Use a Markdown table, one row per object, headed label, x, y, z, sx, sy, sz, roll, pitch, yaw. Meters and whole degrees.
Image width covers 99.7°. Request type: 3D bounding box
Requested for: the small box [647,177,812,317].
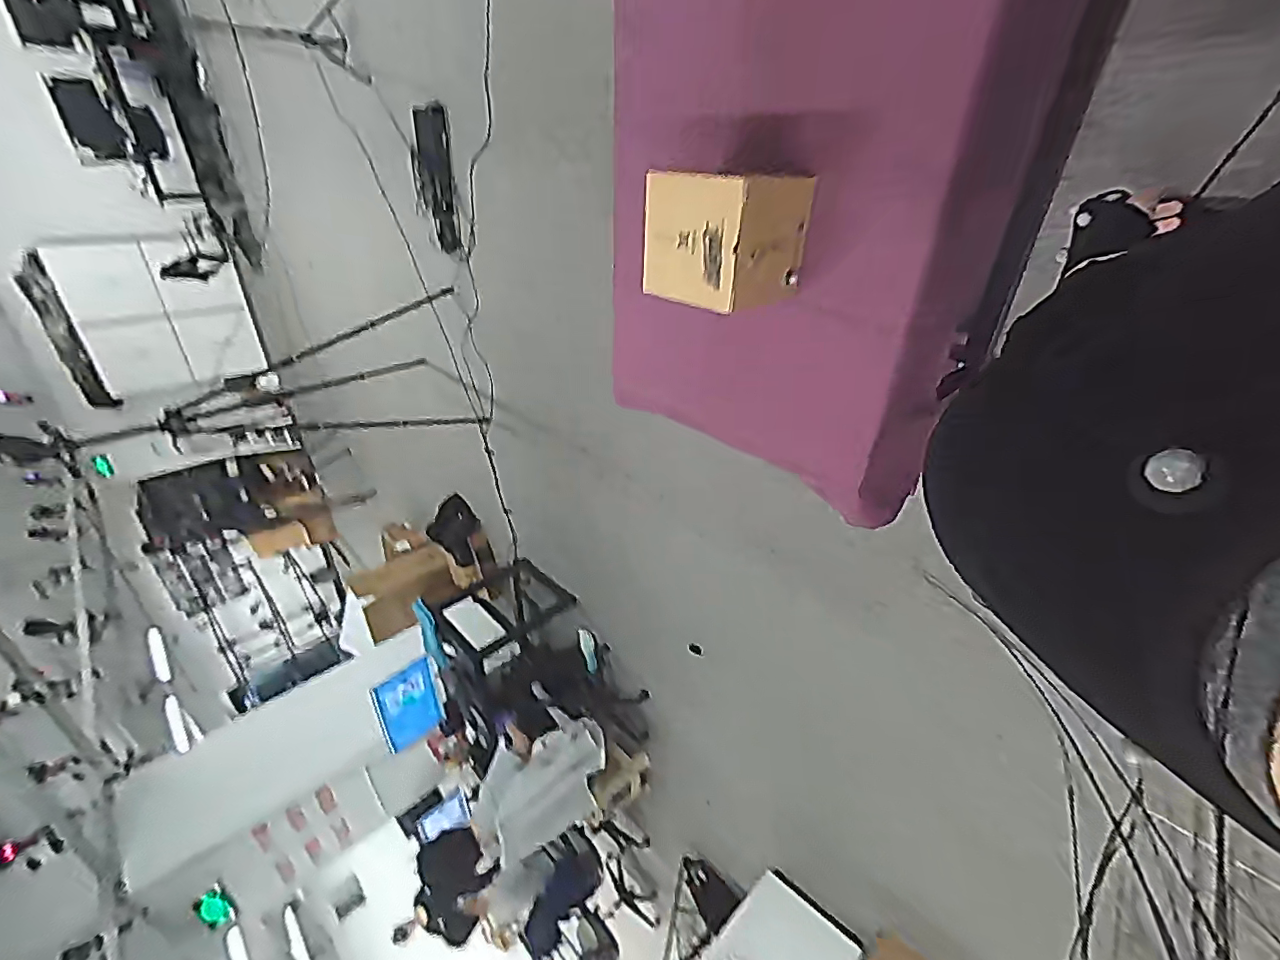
| label | x | y | z | sx | sy | sz | roll | pitch | yaw |
| --- | --- | --- | --- | --- | --- | --- | --- | --- | --- |
| small box | 0.131 | -0.358 | 0.813 | 0.179 | 0.176 | 0.168 | 30 | 130 | 38 |
